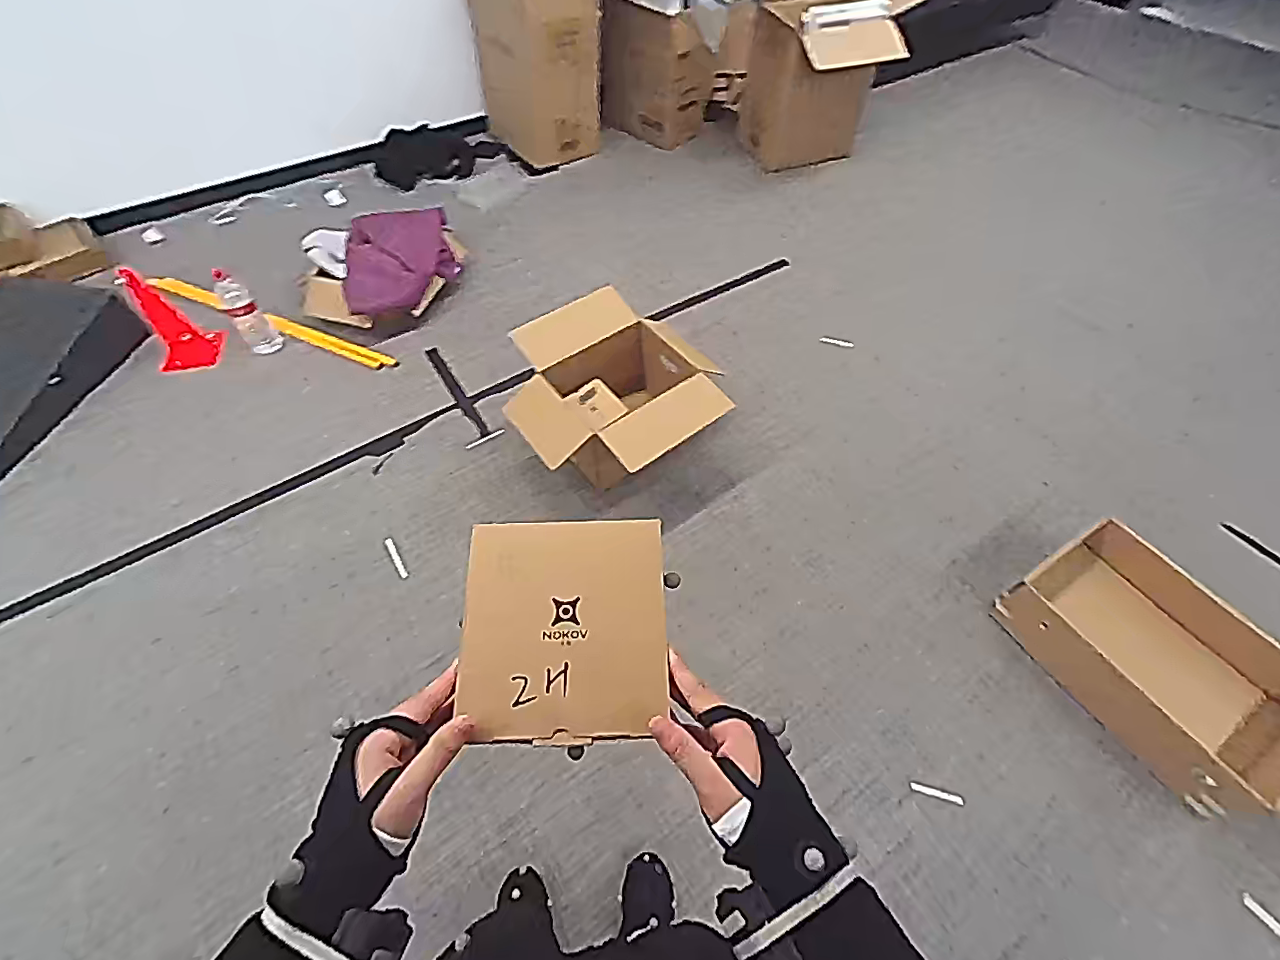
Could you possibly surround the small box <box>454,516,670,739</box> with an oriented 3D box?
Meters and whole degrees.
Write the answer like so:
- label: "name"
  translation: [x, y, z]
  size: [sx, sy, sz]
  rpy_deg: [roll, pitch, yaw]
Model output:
- label: "small box"
  translation: [-0.061, 0.146, 0.513]
  size: [0.168, 0.176, 0.179]
  rpy_deg: [-1, 64, 0]
